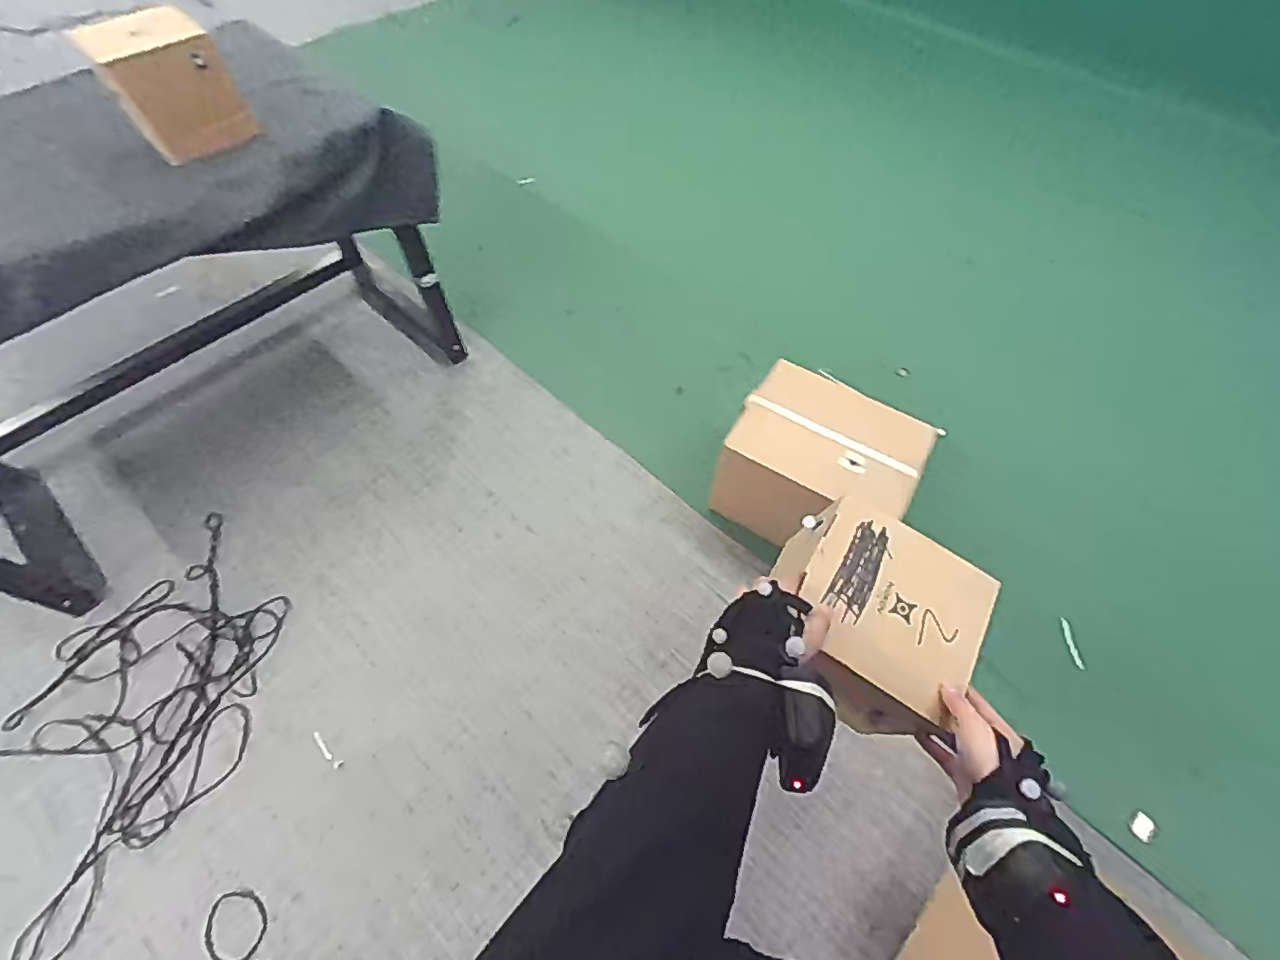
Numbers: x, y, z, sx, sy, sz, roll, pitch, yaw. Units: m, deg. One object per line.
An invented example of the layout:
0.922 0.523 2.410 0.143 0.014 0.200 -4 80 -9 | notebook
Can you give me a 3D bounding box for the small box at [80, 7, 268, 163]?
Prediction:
-0.843 -0.720 0.994 0.179 0.176 0.168 -40 67 -21 | small box
